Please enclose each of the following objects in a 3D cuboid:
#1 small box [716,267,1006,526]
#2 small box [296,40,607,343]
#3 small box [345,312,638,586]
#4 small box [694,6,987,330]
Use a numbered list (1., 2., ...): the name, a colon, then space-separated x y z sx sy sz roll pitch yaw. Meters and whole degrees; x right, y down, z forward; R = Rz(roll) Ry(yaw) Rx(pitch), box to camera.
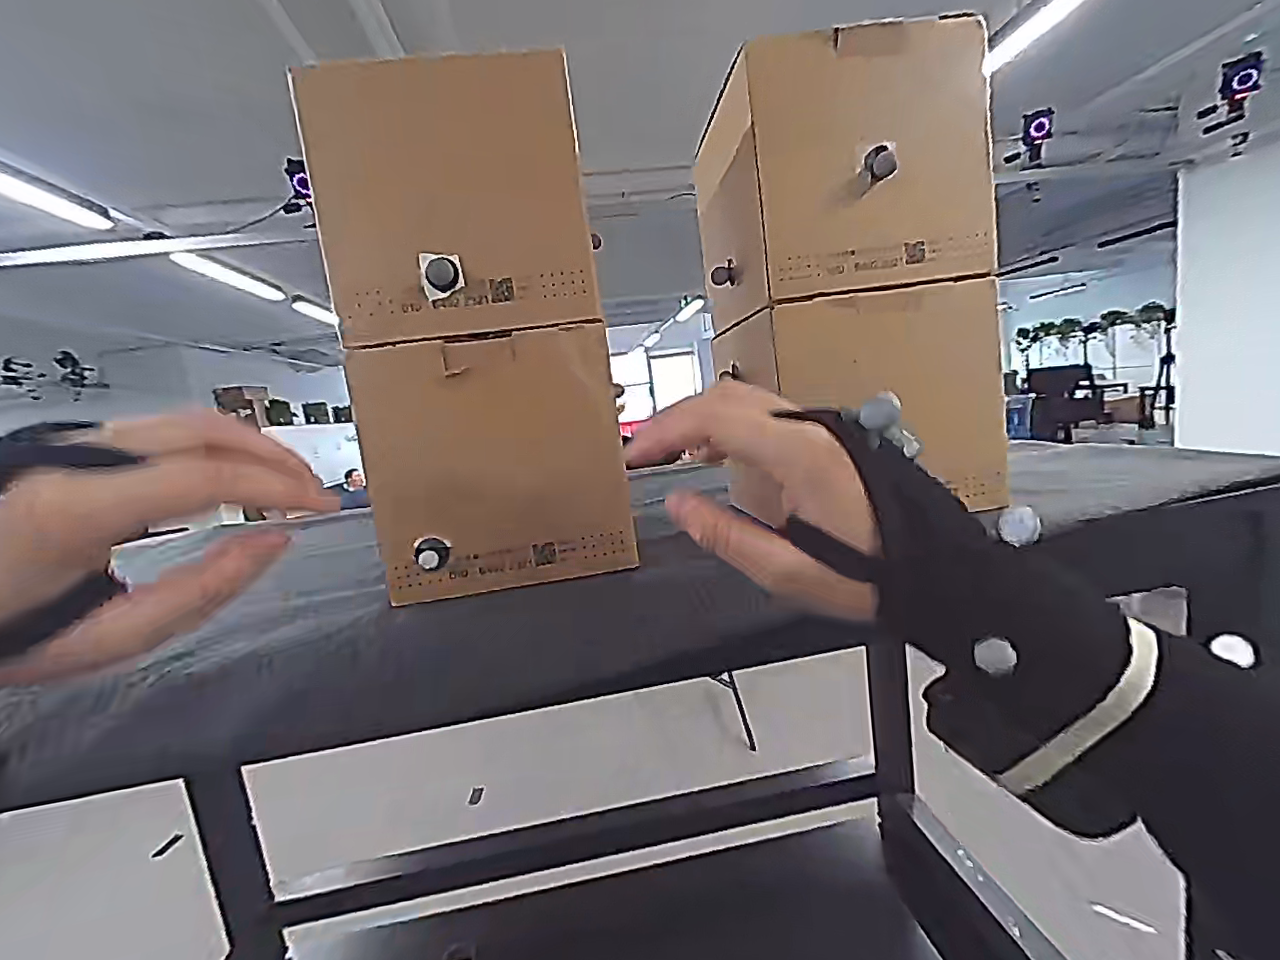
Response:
1. small box: 0.171 -0.063 0.459 0.168 0.176 0.179 -10 7 -5
2. small box: -0.120 -0.182 0.412 0.168 0.176 0.179 -9 7 -5
3. small box: -0.100 -0.021 0.429 0.168 0.176 0.179 -8 6 -6
4. small box: 0.149 -0.224 0.439 0.168 0.176 0.179 -9 8 -4
